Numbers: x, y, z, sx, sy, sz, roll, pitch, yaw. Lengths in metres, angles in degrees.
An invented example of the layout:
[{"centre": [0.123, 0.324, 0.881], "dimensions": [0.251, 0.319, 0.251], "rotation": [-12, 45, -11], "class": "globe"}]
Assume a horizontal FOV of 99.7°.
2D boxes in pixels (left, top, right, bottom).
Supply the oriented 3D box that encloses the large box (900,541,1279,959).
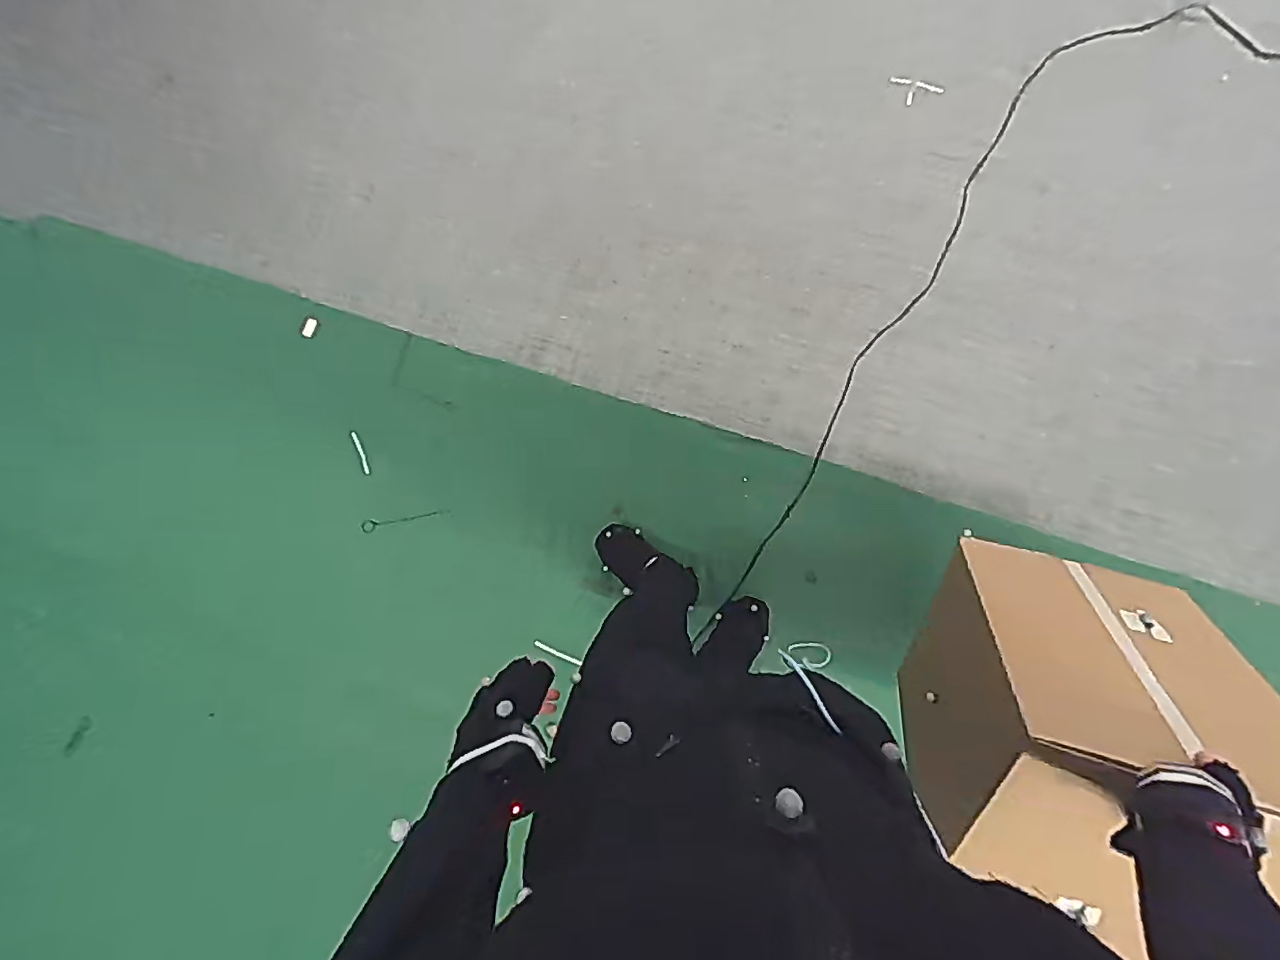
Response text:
[{"centre": [0.580, 0.345, 0.742], "dimensions": [0.320, 0.408, 0.320], "rotation": [14, 118, 14], "class": "large box"}]
